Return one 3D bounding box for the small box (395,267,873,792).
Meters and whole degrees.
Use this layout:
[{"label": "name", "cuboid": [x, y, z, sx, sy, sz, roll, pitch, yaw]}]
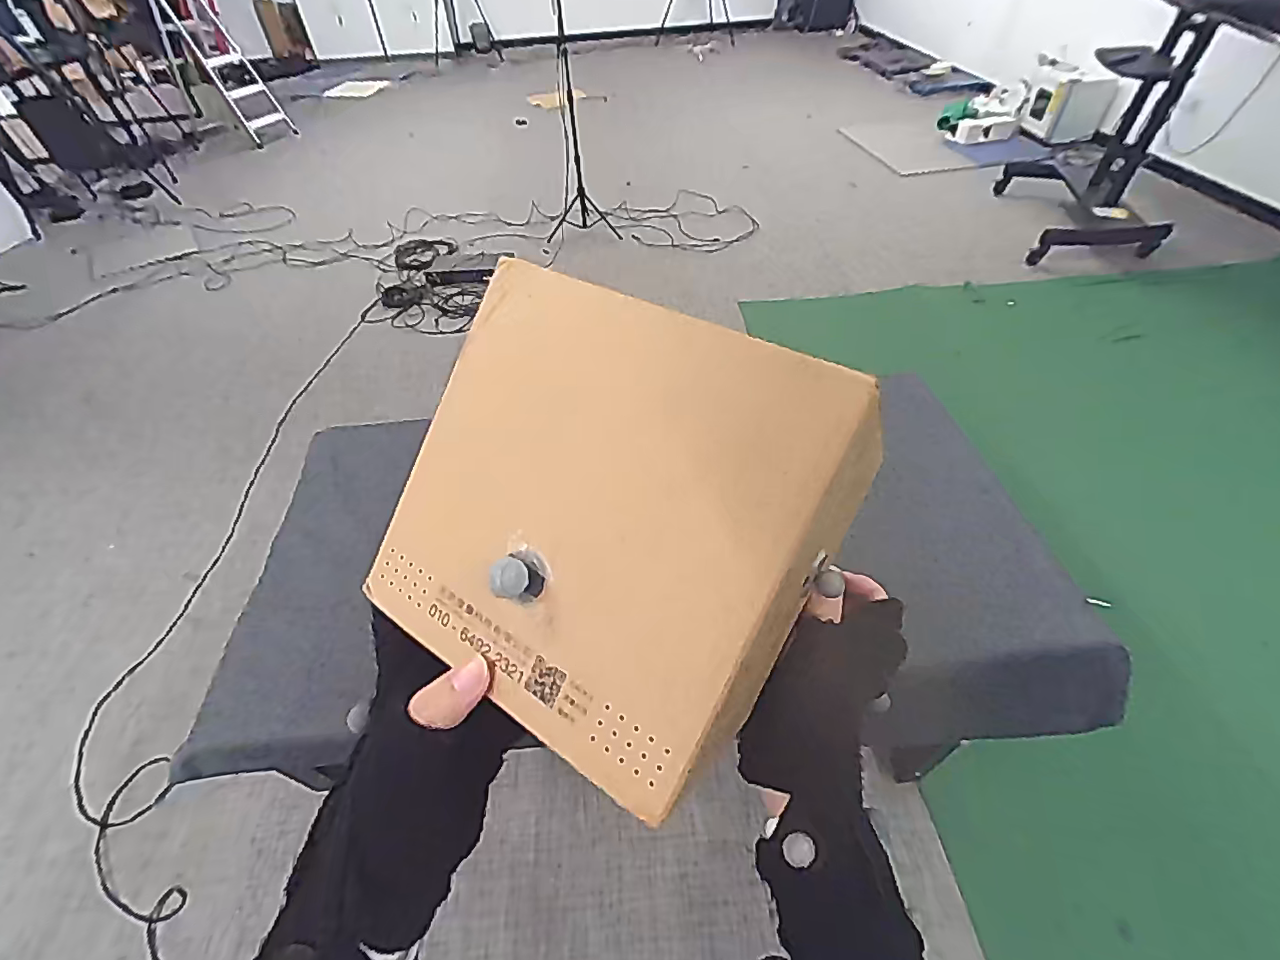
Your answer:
[{"label": "small box", "cuboid": [0.008, 0.019, 0.294, 0.168, 0.179, 0.176, 27, 97, 24]}]
